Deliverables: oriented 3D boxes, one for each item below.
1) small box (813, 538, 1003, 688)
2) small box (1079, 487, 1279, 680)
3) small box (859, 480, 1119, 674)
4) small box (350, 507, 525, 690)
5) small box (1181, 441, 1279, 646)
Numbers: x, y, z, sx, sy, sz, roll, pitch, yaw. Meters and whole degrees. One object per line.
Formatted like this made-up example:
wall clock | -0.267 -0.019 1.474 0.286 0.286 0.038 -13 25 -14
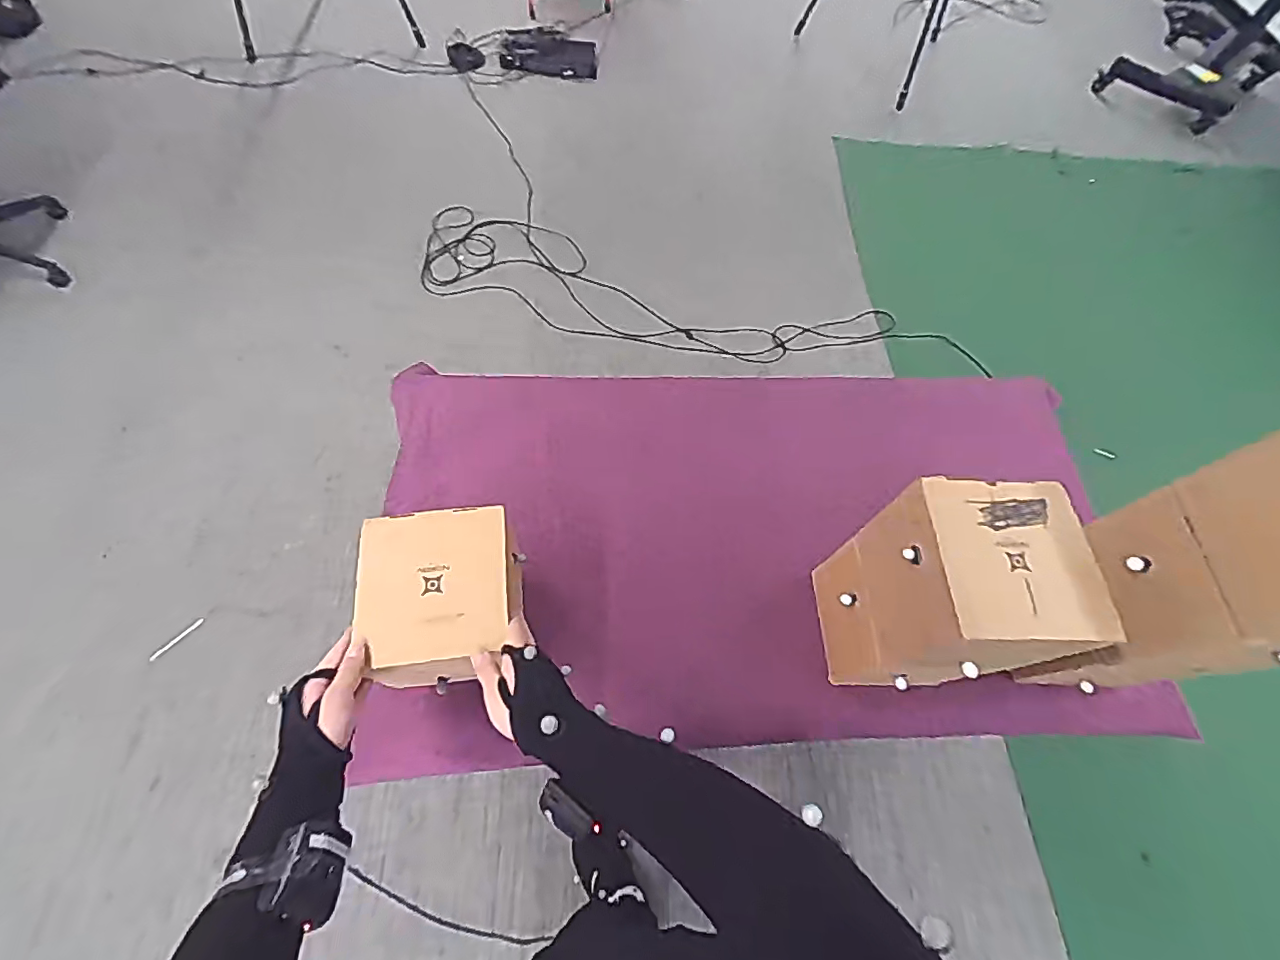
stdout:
small box | 0.362 0.195 0.767 0.168 0.176 0.179 1 61 -3
small box | 0.656 0.127 0.636 0.168 0.176 0.179 3 62 -1
small box | 0.374 0.117 0.623 0.168 0.176 0.179 2 62 -3
small box | -0.237 0.152 0.676 0.168 0.176 0.179 -6 64 -8
small box | 0.667 0.050 0.491 0.168 0.176 0.179 4 63 -1
